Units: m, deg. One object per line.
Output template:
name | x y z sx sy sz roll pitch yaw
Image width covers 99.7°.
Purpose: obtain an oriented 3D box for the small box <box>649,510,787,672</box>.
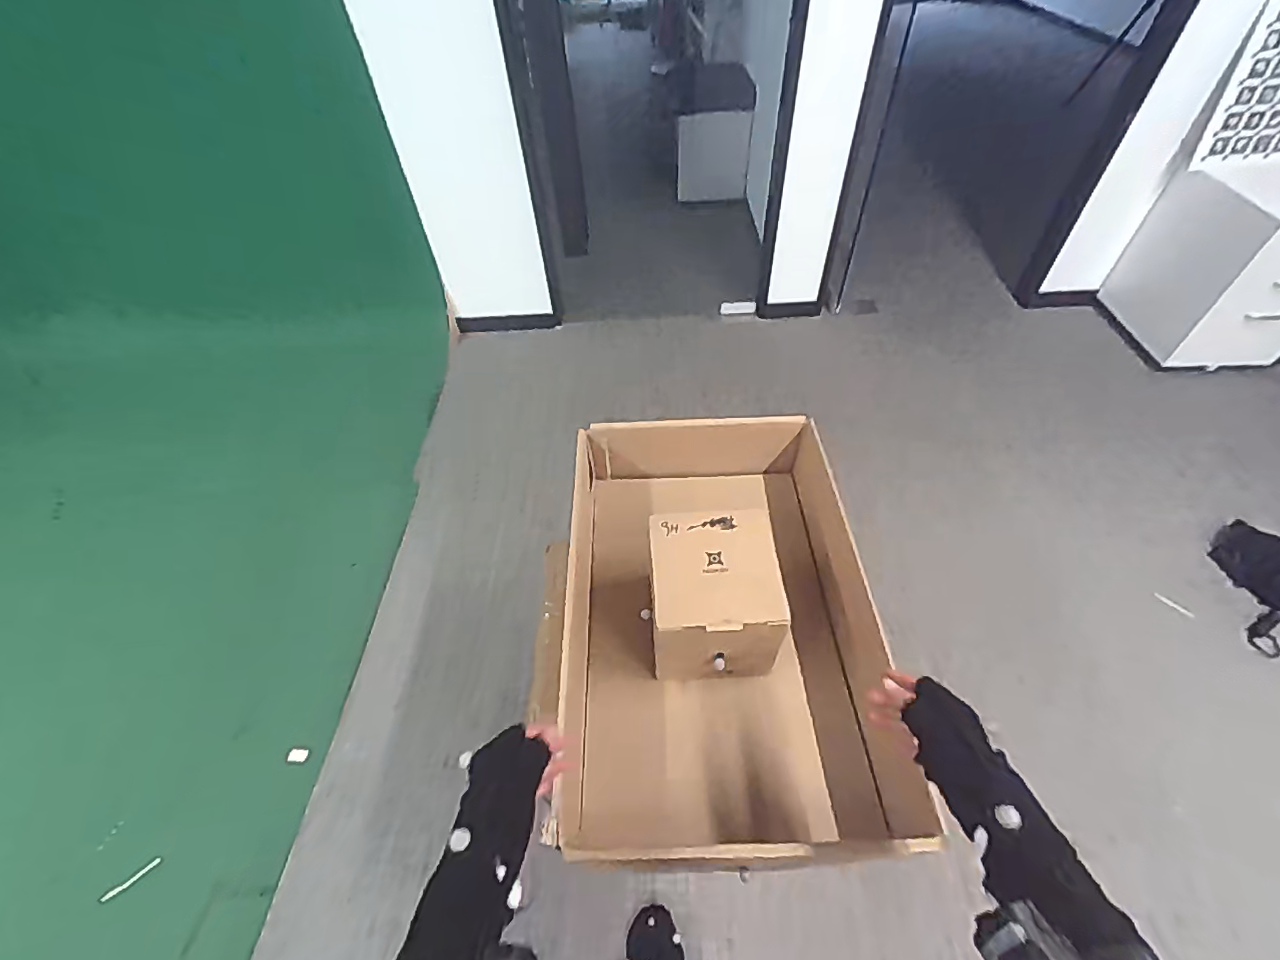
small box | 0.098 0.162 0.766 0.168 0.176 0.179 -2 50 -1
